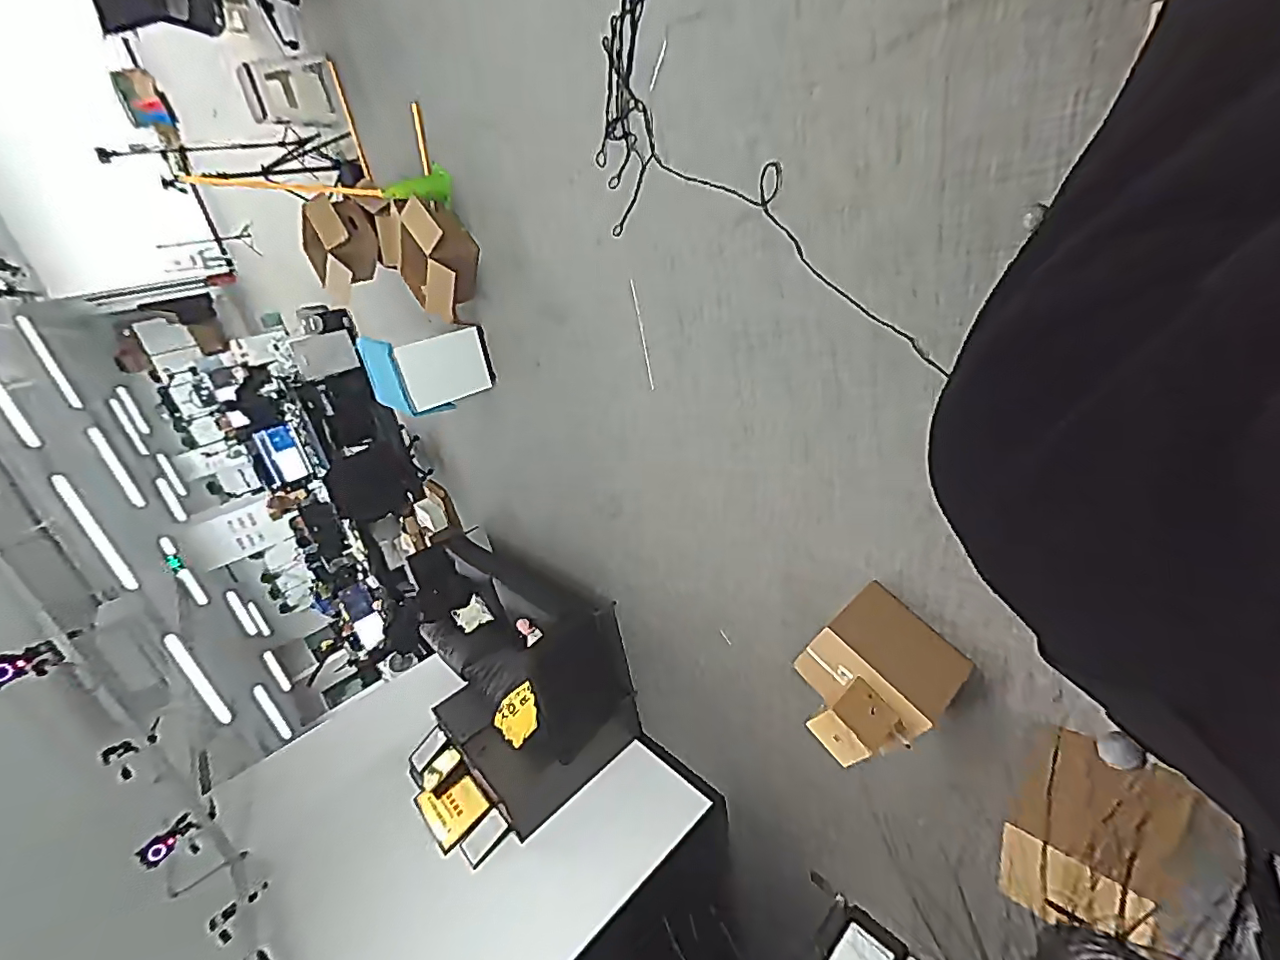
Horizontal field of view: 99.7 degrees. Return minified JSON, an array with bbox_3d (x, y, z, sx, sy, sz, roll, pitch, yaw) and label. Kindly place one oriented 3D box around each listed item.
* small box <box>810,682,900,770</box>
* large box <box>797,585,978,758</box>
[{"bbox_3d":[0.682,0.776,1.712,0.168,0.176,0.179,47,145,22],"label":"small box"},{"bbox_3d":[0.835,0.646,1.857,0.408,0.320,0.320,45,143,27],"label":"large box"}]
